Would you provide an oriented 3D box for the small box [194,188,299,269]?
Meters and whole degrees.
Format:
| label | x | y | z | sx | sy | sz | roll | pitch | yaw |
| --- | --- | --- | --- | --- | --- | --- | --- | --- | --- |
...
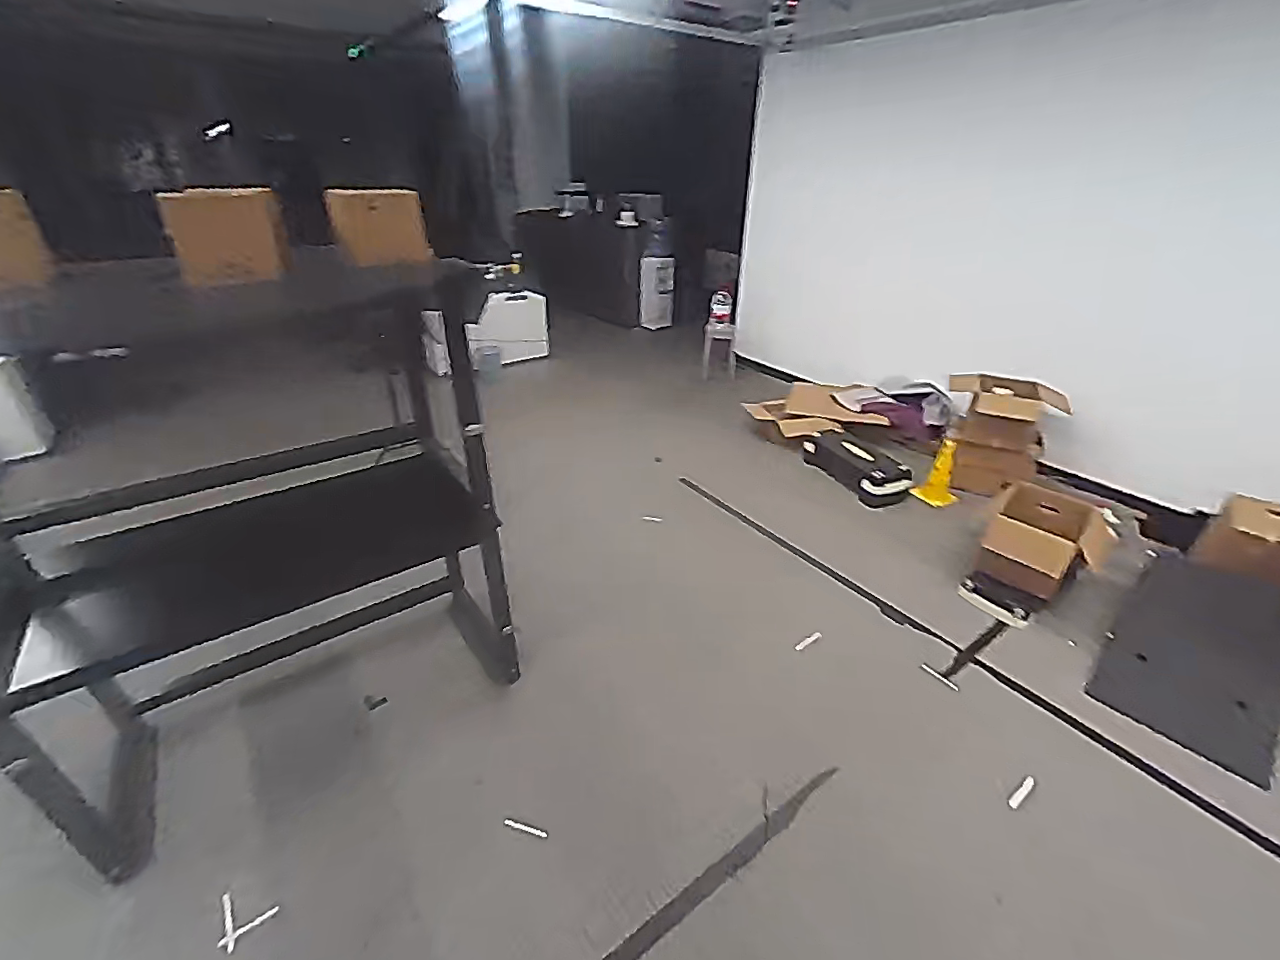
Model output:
| label | x | y | z | sx | sy | sz | roll | pitch | yaw |
| --- | --- | --- | --- | --- | --- | --- | --- | --- | --- |
| small box | -0.961 | -0.619 | 1.328 | 0.168 | 0.176 | 0.179 | -19 | 35 | -29 |

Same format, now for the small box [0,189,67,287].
| label | x | y | z | sx | sy | sz | roll | pitch | yaw |
| --- | --- | --- | --- | --- | --- | --- | --- | --- | --- |
| small box | -1.322 | -0.490 | 1.097 | 0.168 | 0.176 | 0.179 | -19 | 35 | -31 |
